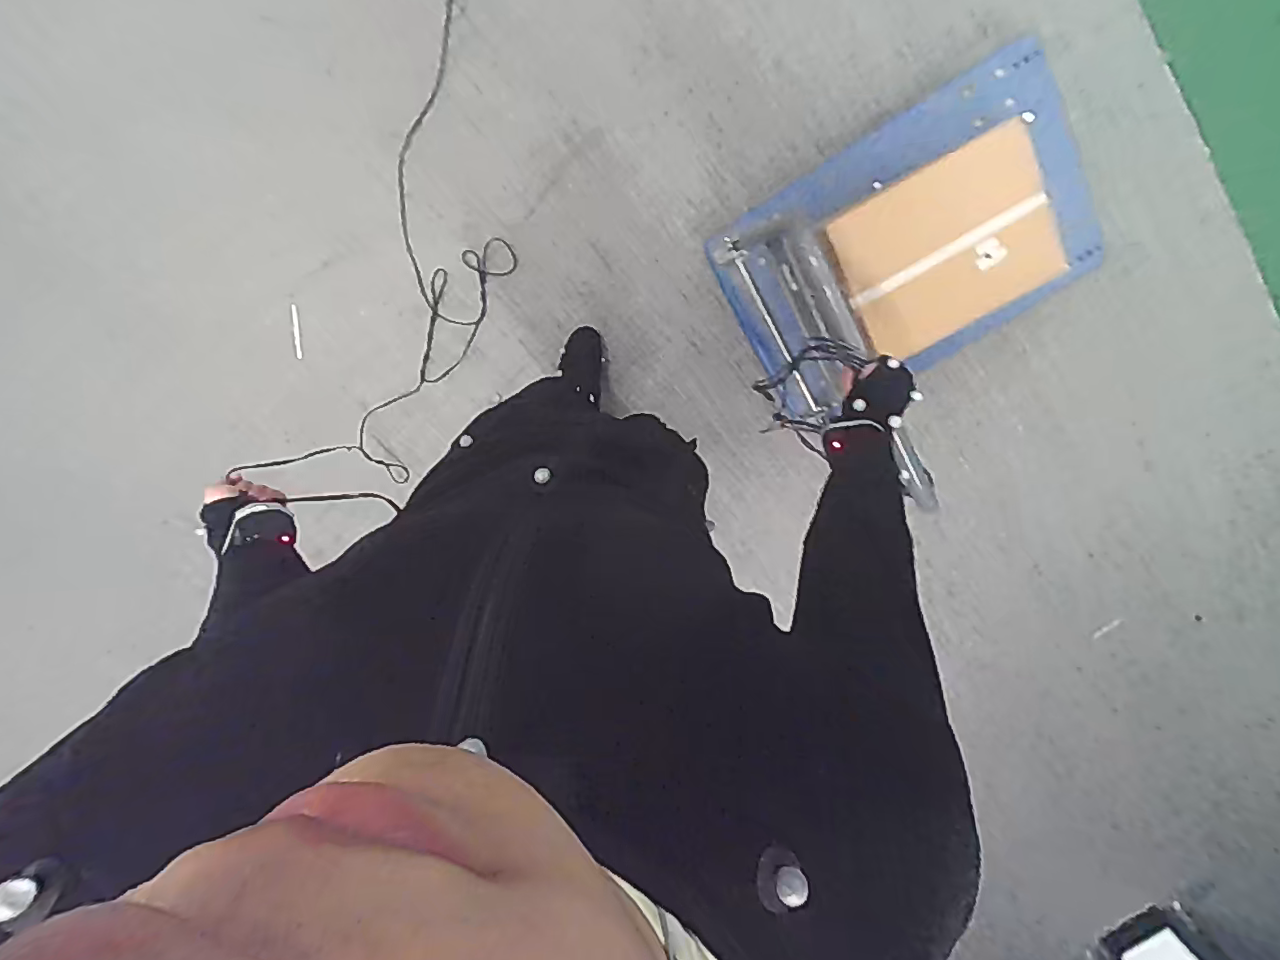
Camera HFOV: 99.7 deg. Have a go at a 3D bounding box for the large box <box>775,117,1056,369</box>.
[{"bbox_3d":[0.576,-0.487,1.195,0.408,0.320,0.320,-29,107,4],"label":"large box"}]
